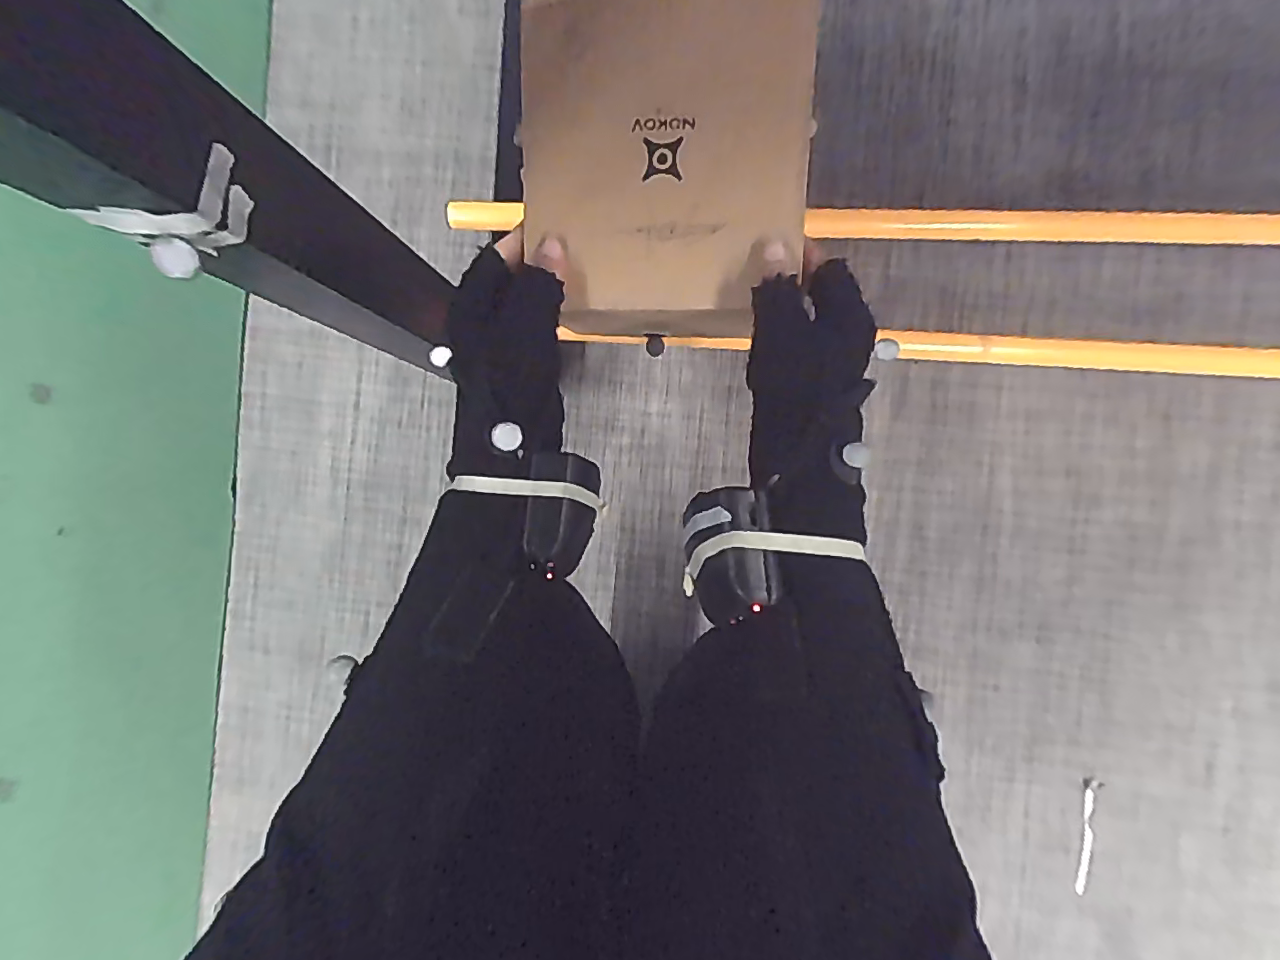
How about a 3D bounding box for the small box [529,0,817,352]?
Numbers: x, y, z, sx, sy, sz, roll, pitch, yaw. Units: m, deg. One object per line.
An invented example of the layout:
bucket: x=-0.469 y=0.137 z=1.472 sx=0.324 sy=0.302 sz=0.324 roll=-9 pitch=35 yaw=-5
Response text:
small box: x=0.024 y=-0.190 z=0.394 sx=0.168 sy=0.176 sz=0.179 roll=1 pitch=99 yaw=8
